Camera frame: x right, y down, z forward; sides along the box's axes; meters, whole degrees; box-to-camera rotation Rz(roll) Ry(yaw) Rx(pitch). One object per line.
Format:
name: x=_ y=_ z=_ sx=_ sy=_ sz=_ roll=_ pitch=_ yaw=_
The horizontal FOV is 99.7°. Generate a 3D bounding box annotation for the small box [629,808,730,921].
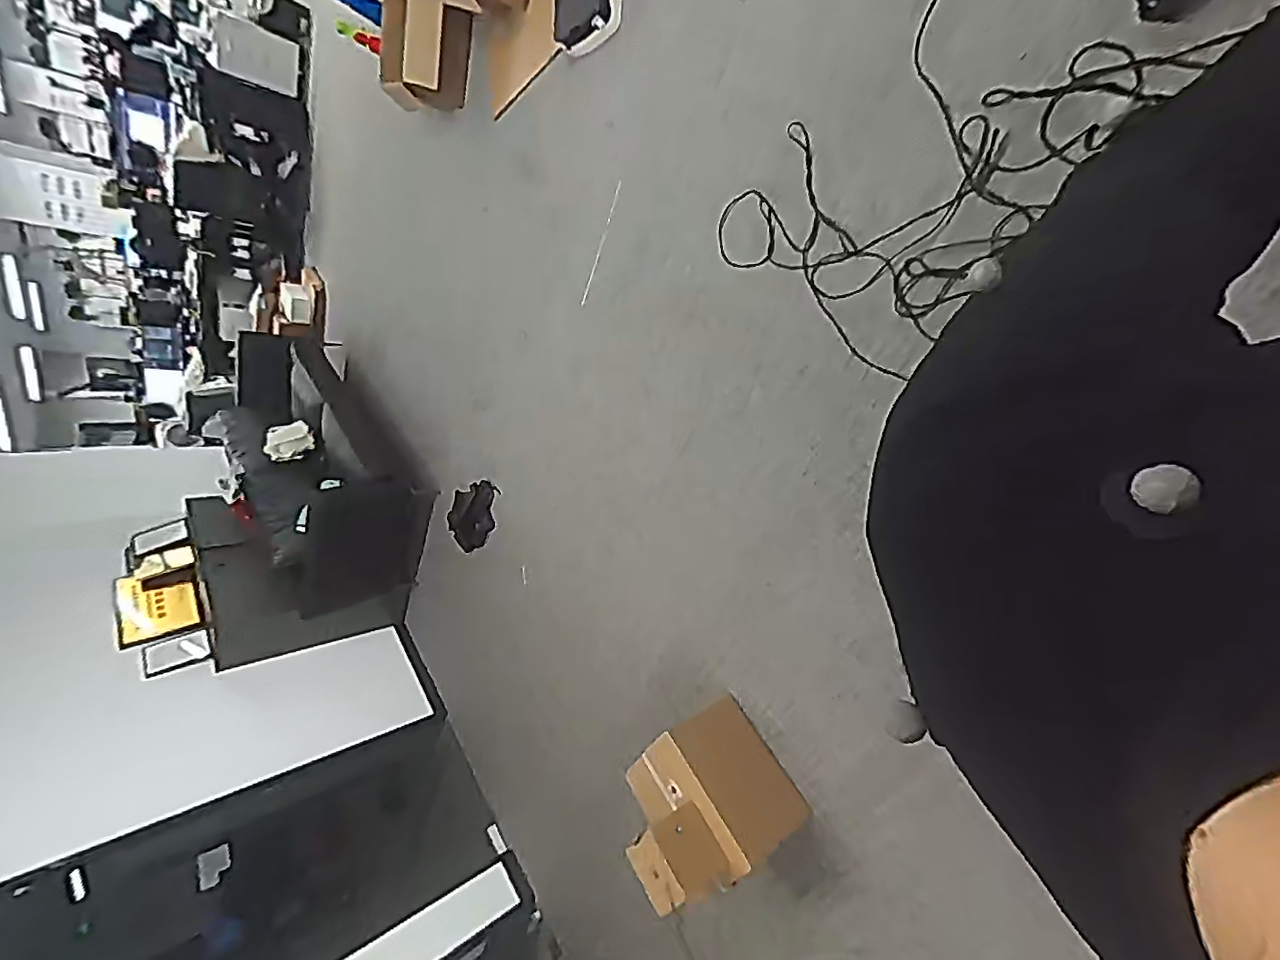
small box: x=0.106 y=1.029 z=1.465 sx=0.179 sy=0.176 sz=0.168 roll=50 pitch=129 yaw=30

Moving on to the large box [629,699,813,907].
large box: x=0.242 y=0.975 z=1.671 sx=0.408 sy=0.320 sz=0.320 roll=52 pitch=128 yaw=31
